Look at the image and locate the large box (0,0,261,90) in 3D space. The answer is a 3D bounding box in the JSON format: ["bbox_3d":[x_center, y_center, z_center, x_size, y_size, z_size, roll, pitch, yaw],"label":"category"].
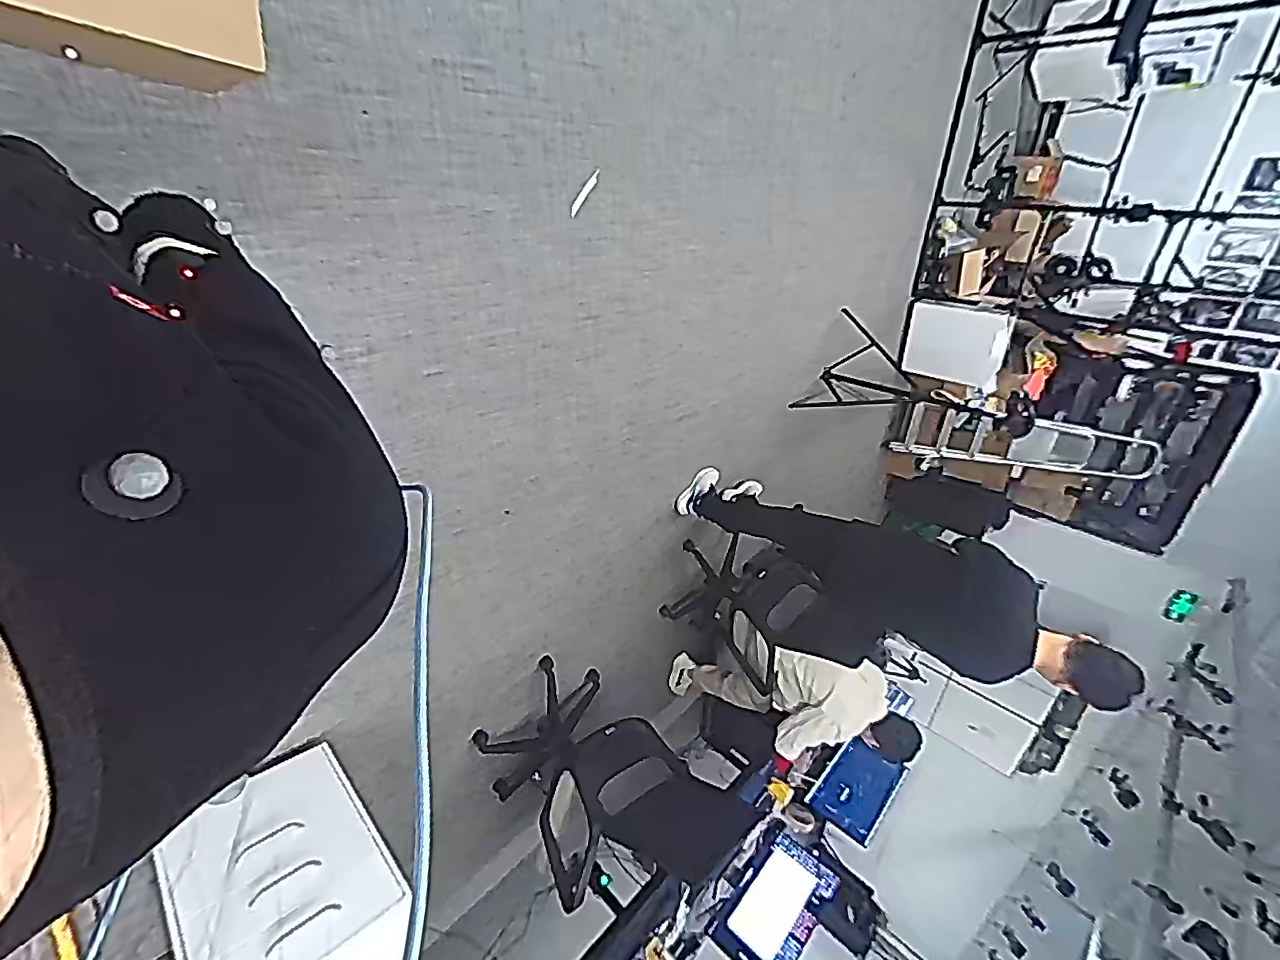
[{"bbox_3d":[-0.796,-0.755,0.701,0.408,0.320,0.320,-18,123,-45],"label":"large box"}]
